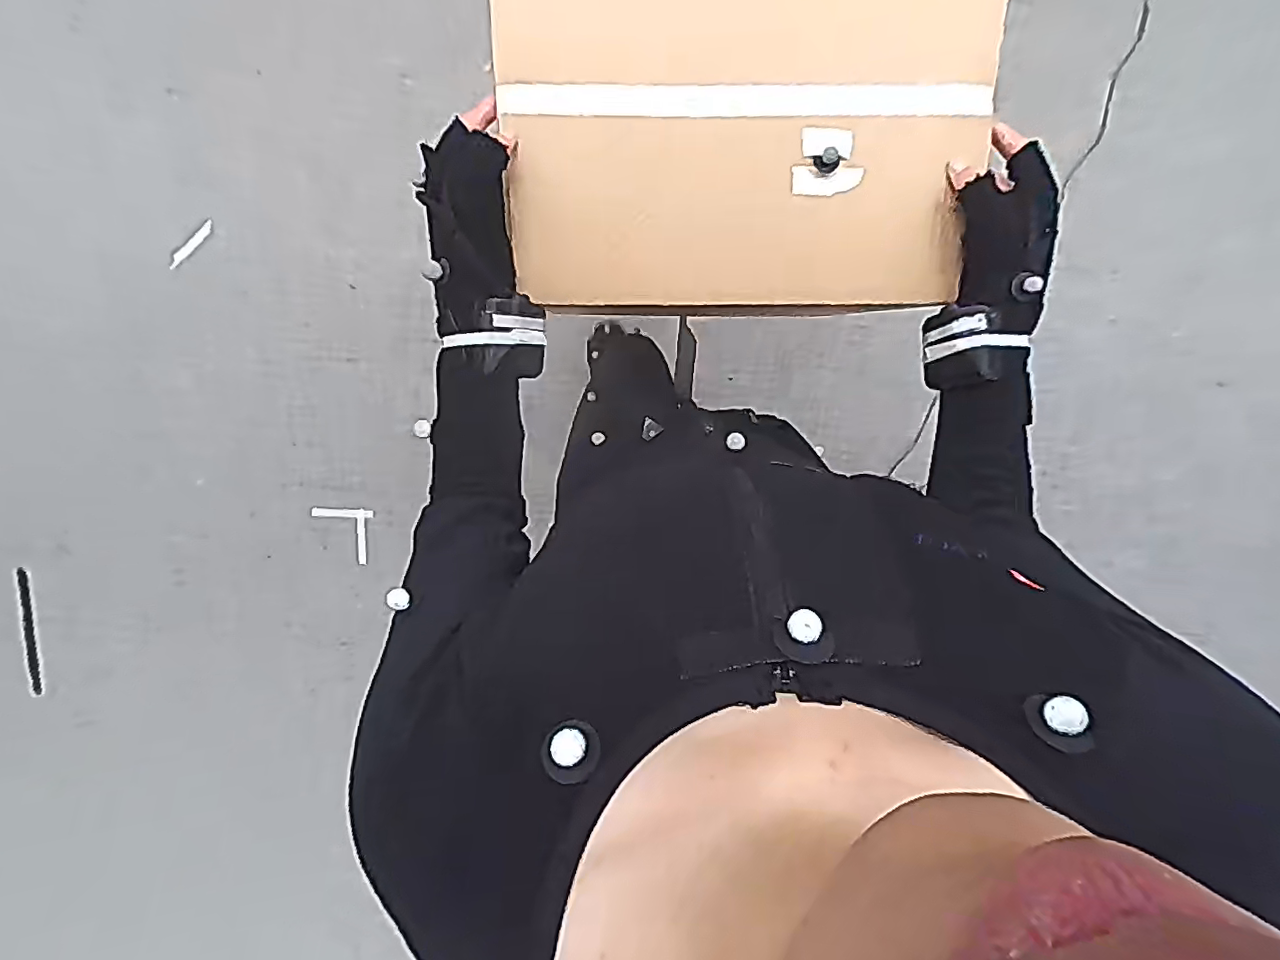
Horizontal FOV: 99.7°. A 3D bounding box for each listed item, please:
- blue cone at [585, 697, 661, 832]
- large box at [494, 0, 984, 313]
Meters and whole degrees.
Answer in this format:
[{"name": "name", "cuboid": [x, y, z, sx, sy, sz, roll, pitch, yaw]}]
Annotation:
[{"name": "blue cone", "cuboid": [-0.057, 0.770, 1.443, 0.193, 0.380, 0.192, 26, 99, -2]}, {"name": "large box", "cuboid": [0.077, -0.357, 0.598, 0.408, 0.320, 0.320, 0, 105, -2]}]
